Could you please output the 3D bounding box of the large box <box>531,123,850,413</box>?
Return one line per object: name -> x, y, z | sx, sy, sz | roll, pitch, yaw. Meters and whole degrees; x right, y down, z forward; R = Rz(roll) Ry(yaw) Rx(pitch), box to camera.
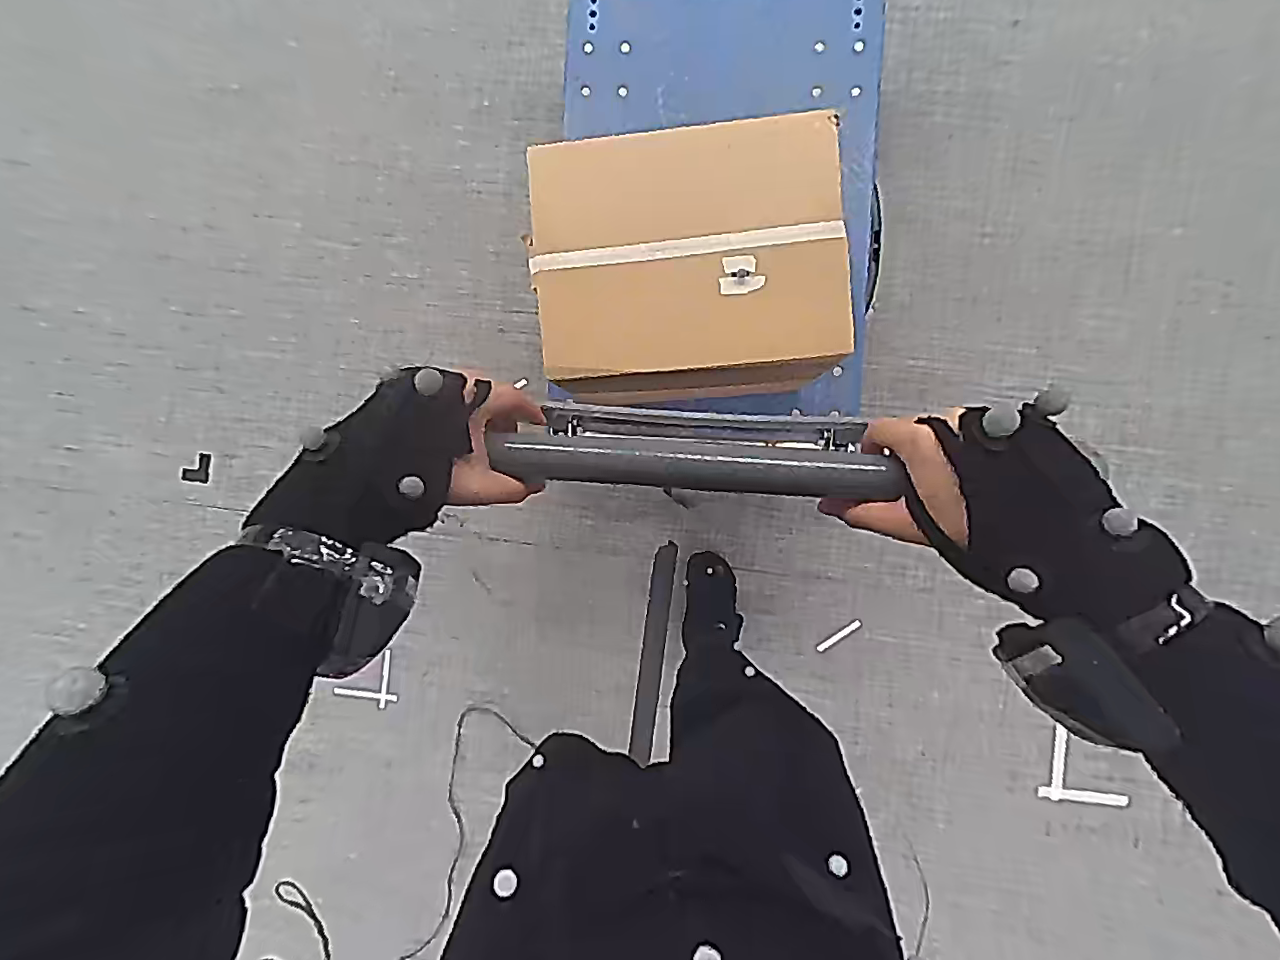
large box -> 0.071, -0.294, 0.861 | 0.408, 0.320, 0.320 | -5, 91, 3
